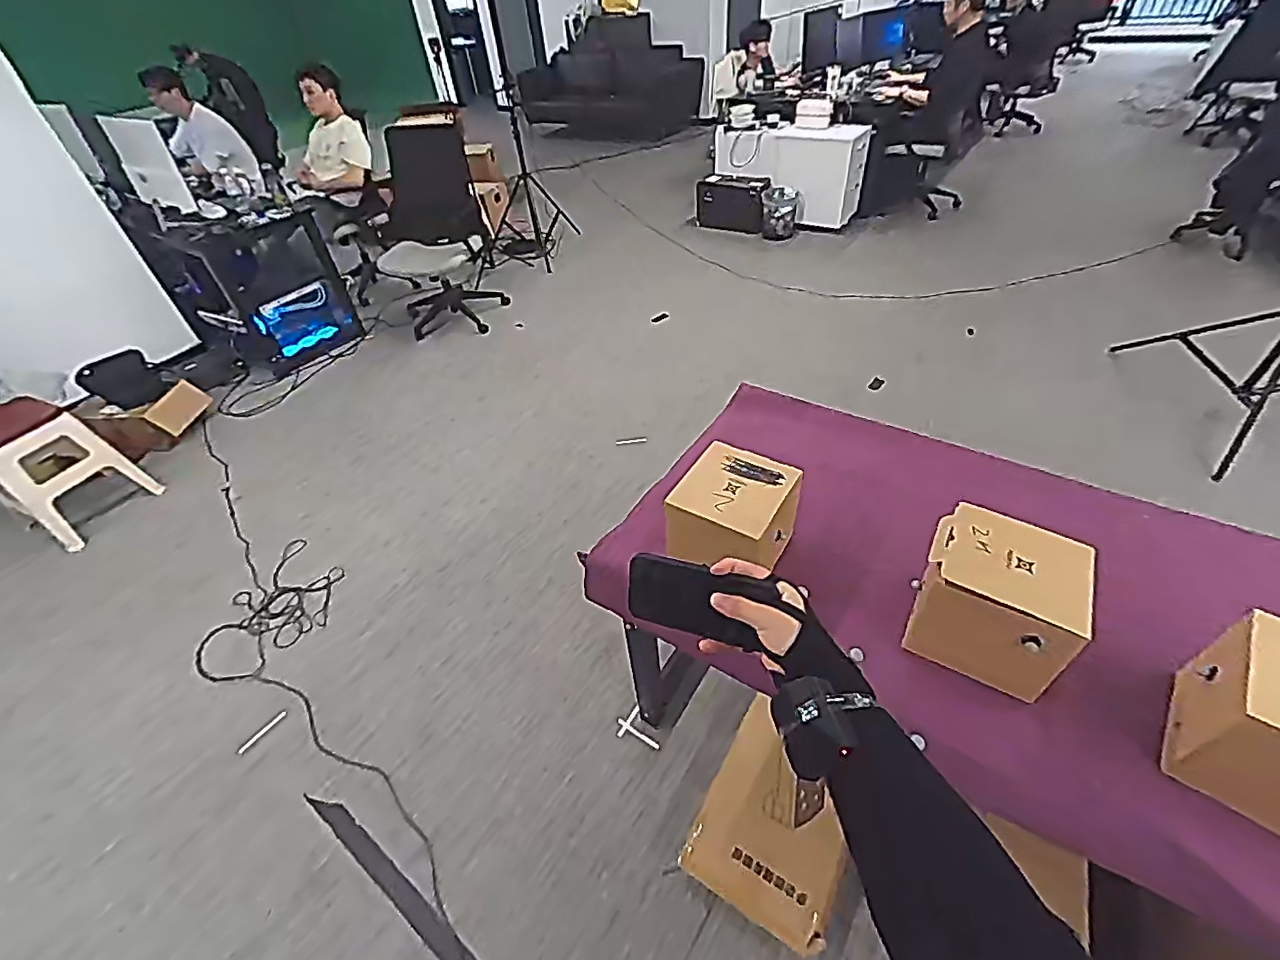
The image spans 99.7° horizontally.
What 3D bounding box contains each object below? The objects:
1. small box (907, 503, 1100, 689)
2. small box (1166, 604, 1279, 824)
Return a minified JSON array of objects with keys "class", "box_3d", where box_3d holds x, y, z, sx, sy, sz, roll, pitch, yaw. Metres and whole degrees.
[{"class":"small box","box_3d":[0.511,0.168,0.774,0.179,0.176,0.168,21,47,26]},{"class":"small box","box_3d":[0.764,0.285,0.622,0.179,0.176,0.168,28,53,30]}]
